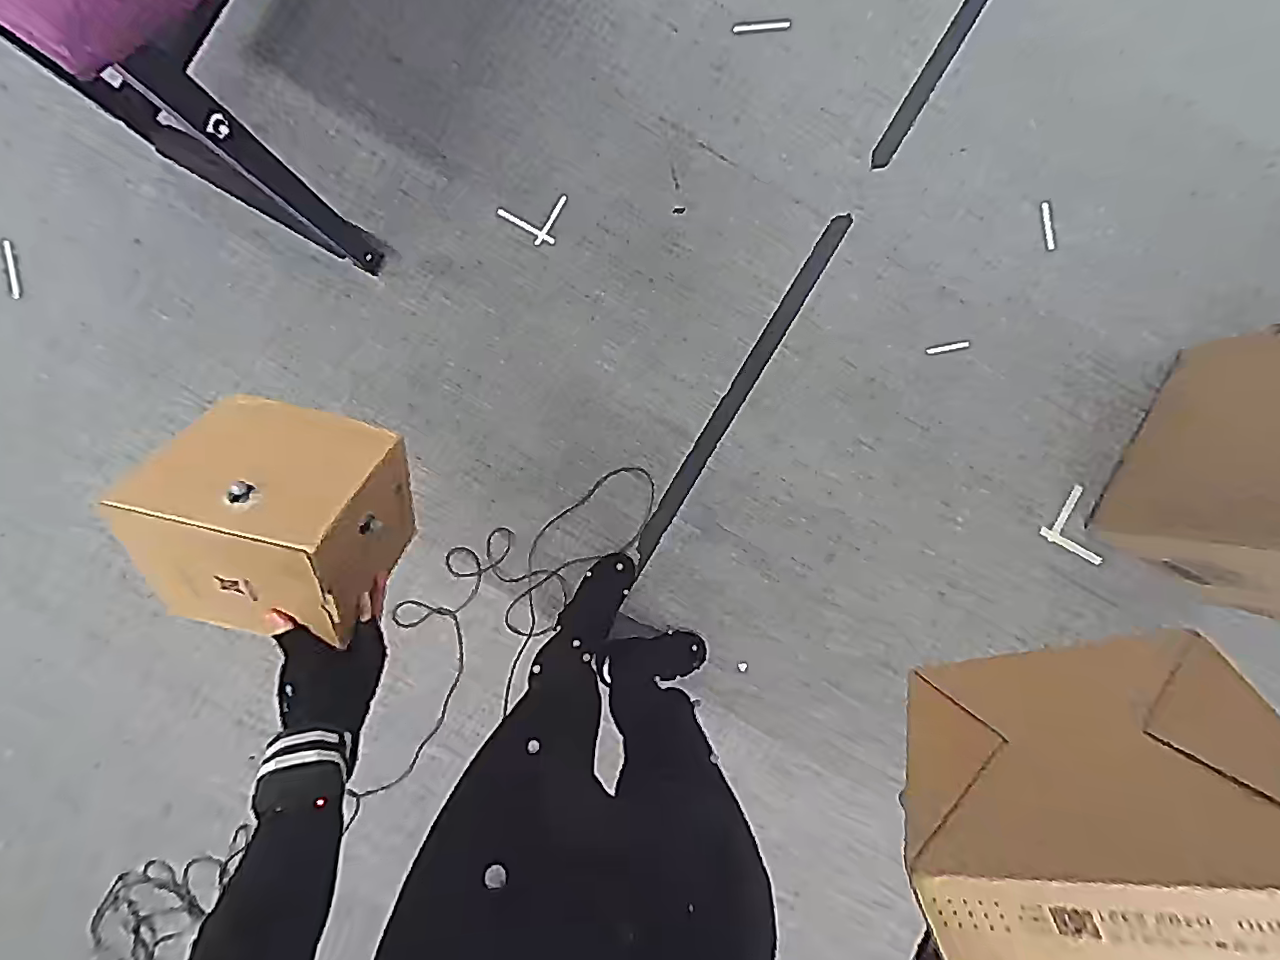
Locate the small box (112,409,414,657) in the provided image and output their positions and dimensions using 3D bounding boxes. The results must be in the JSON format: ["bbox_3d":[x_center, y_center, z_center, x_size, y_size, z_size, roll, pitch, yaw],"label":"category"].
[{"bbox_3d":[-0.350,0.049,0.553,0.179,0.176,0.168,14,131,1],"label":"small box"}]
